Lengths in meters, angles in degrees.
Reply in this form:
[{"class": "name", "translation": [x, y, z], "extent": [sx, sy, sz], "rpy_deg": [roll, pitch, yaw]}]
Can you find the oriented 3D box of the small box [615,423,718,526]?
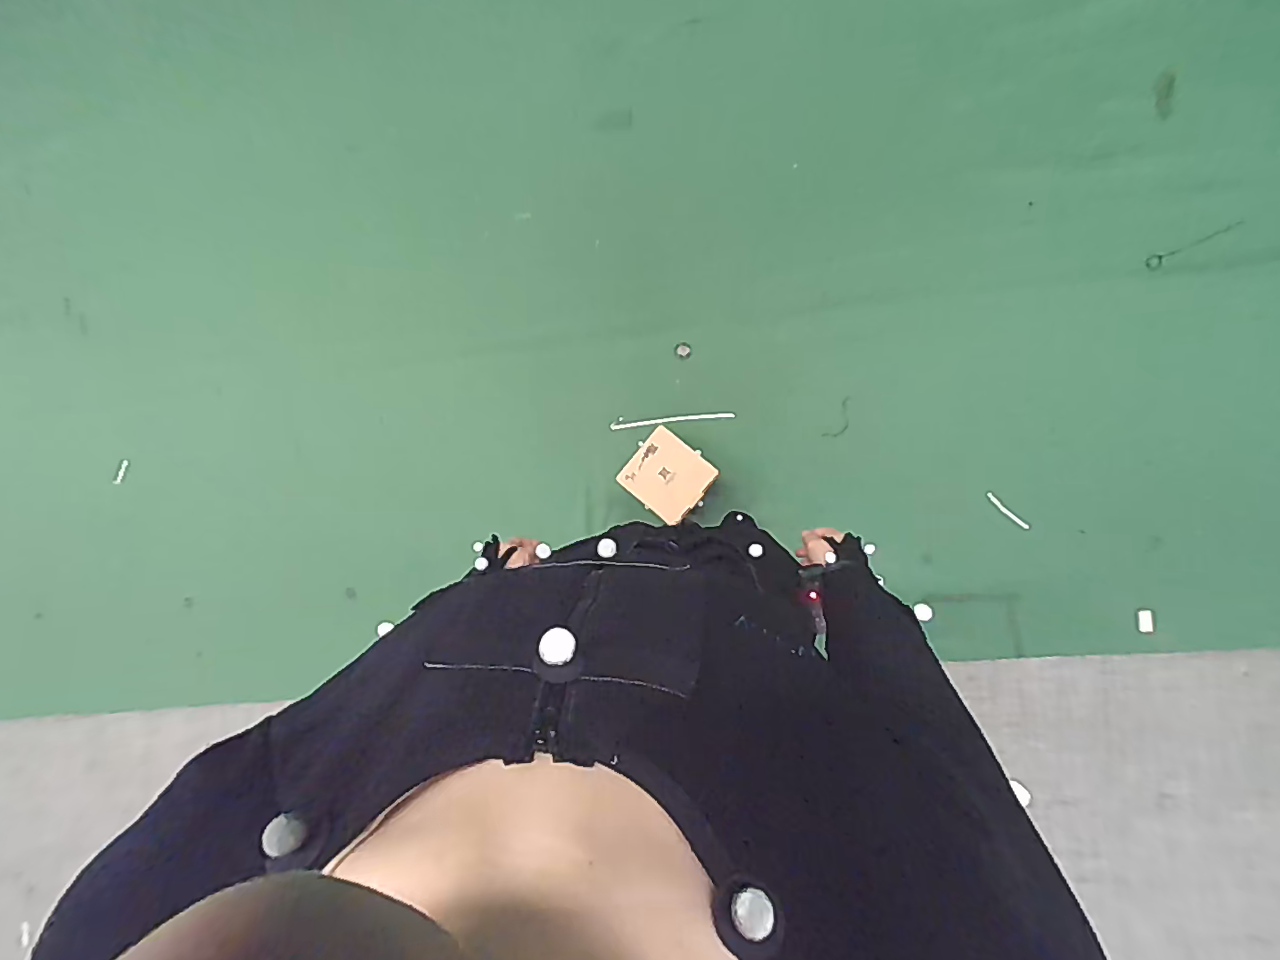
[{"class": "small box", "translation": [0.068, -0.013, 1.286], "extent": [0.179, 0.176, 0.168], "rpy_deg": [40, 93, 6]}]
